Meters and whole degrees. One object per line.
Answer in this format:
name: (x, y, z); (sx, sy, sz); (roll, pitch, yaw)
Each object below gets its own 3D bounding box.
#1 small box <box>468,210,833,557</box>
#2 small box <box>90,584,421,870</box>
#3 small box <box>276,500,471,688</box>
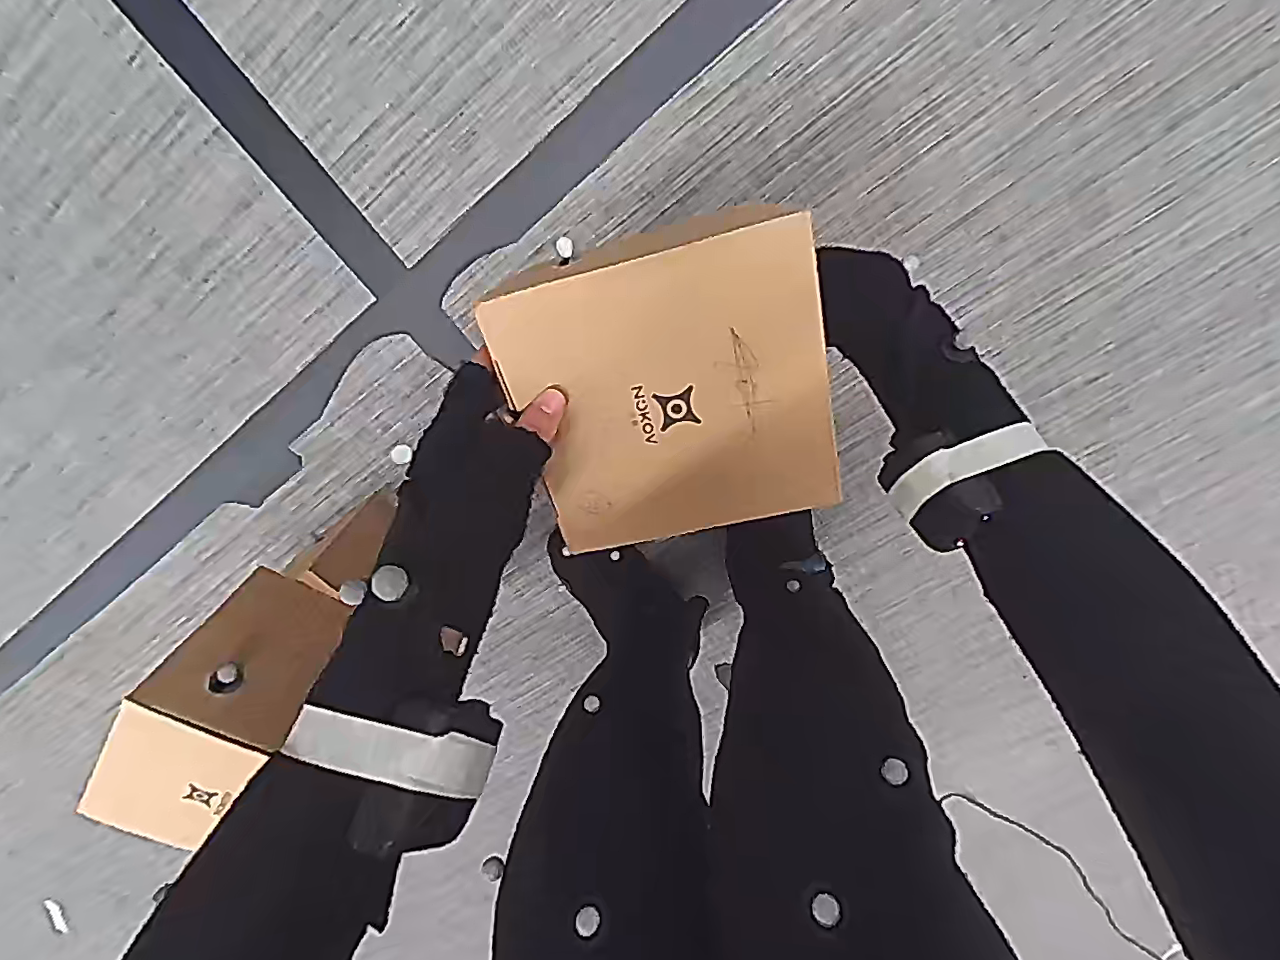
small box: (0.016, -0.074, 0.372); (0.179, 0.176, 0.168); (-13, 117, 9)
small box: (-0.350, 0.228, 0.526); (0.179, 0.176, 0.168); (35, 113, -19)
small box: (-0.342, 0.158, 0.675); (0.168, 0.176, 0.179); (-35, 112, 16)
